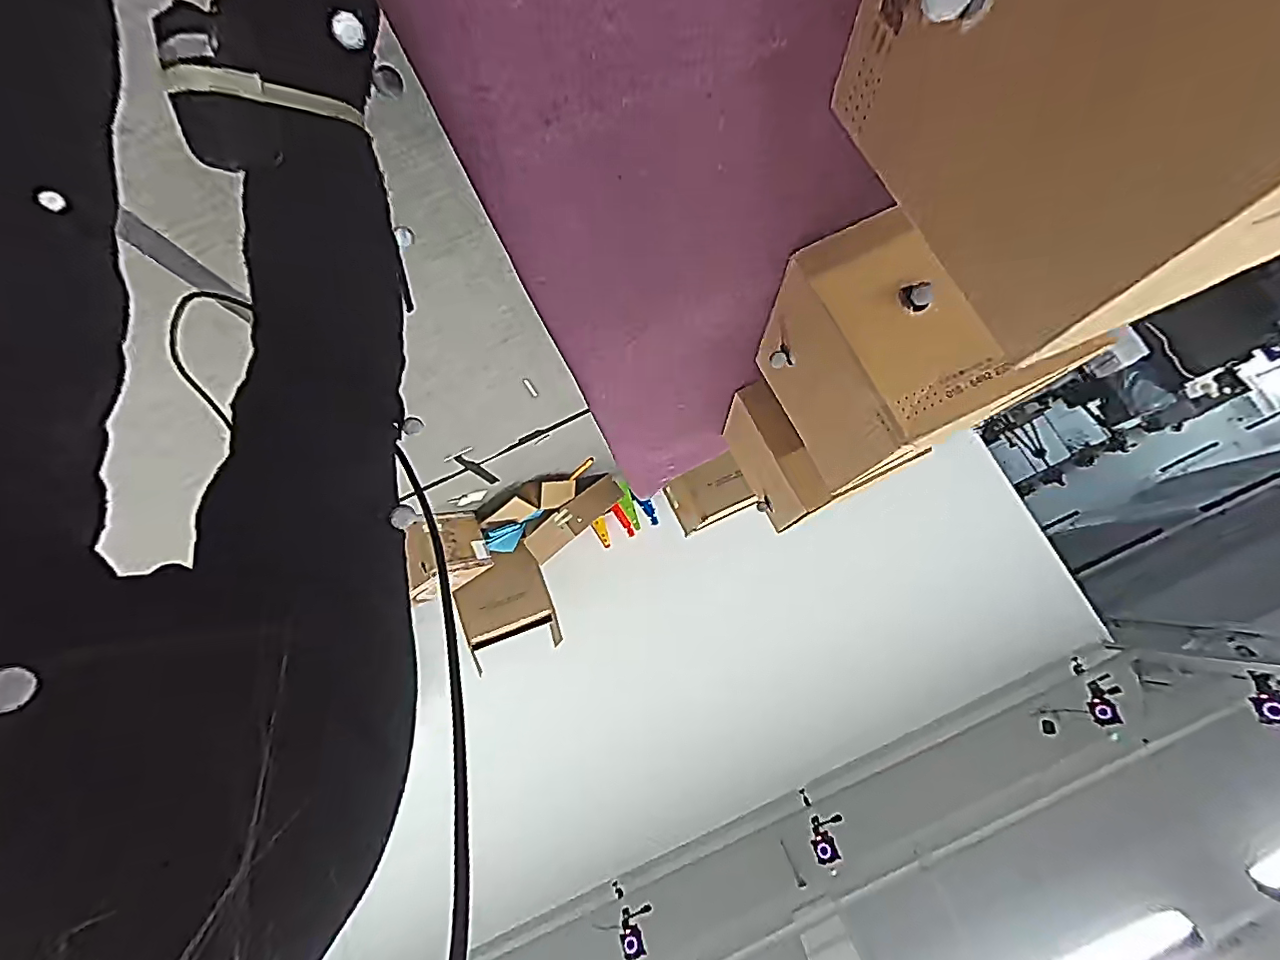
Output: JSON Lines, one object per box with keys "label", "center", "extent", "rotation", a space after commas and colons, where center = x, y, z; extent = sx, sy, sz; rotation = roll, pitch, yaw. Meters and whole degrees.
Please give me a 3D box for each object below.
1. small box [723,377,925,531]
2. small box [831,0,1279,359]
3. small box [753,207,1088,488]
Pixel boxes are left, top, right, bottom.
{"label": "small box", "center": [0.225, -0.053, 0.715], "extent": [0.168, 0.176, 0.179], "rotation": [-27, 167, -4]}
{"label": "small box", "center": [0.206, -0.181, 0.196], "extent": [0.179, 0.176, 0.168], "rotation": [-25, 167, -2]}
{"label": "small box", "center": [0.224, -0.113, 0.476], "extent": [0.168, 0.176, 0.179], "rotation": [-26, 166, -4]}
